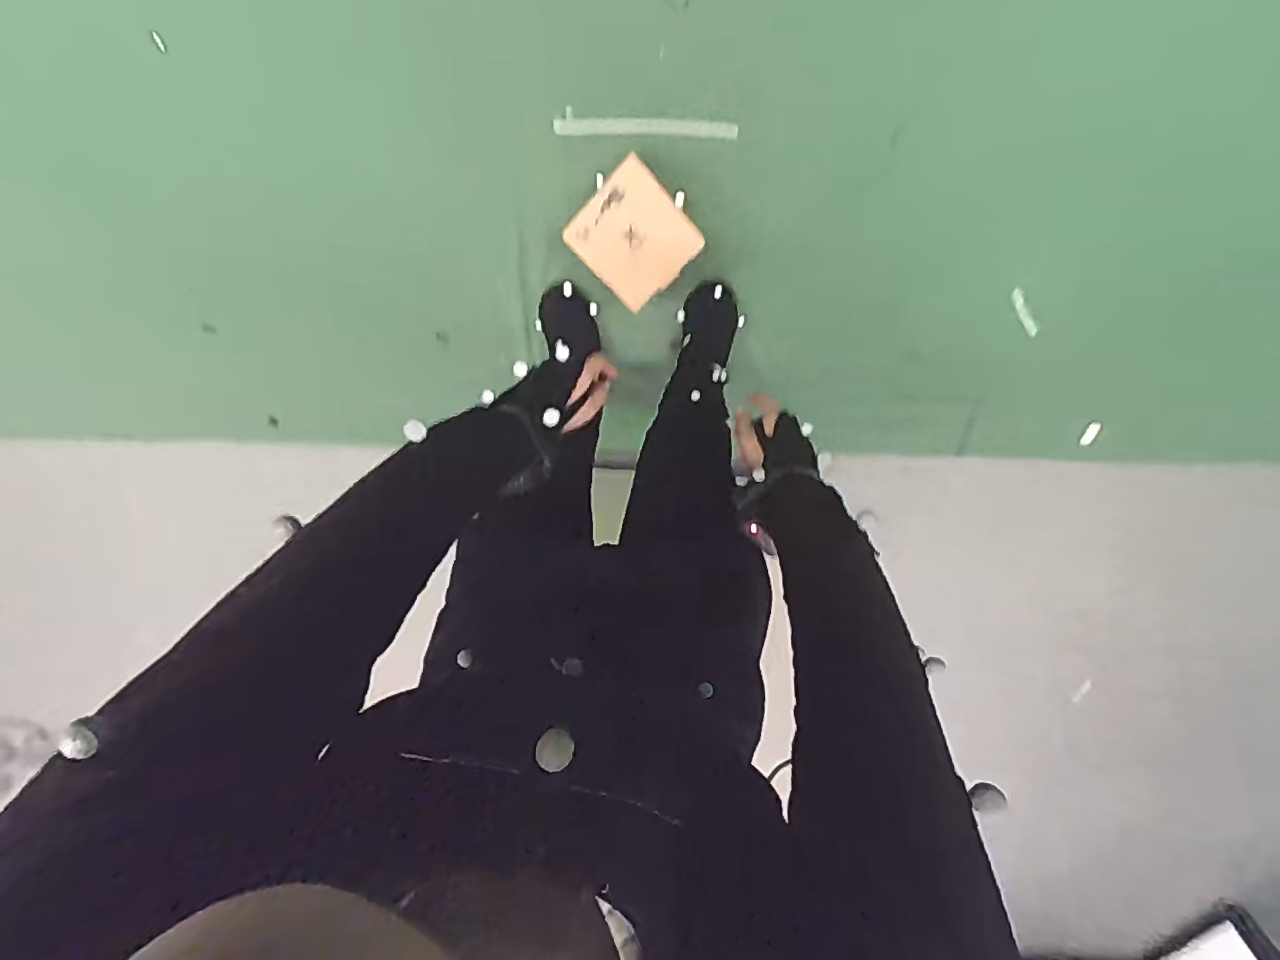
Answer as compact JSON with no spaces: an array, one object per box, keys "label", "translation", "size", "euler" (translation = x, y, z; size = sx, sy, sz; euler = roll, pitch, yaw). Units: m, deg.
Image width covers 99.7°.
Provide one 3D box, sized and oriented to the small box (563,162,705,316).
[{"label":"small box","translation":[-0.007,-0.426,0.946],"size":[0.168,0.176,0.179],"euler":[-38,115,23]}]
